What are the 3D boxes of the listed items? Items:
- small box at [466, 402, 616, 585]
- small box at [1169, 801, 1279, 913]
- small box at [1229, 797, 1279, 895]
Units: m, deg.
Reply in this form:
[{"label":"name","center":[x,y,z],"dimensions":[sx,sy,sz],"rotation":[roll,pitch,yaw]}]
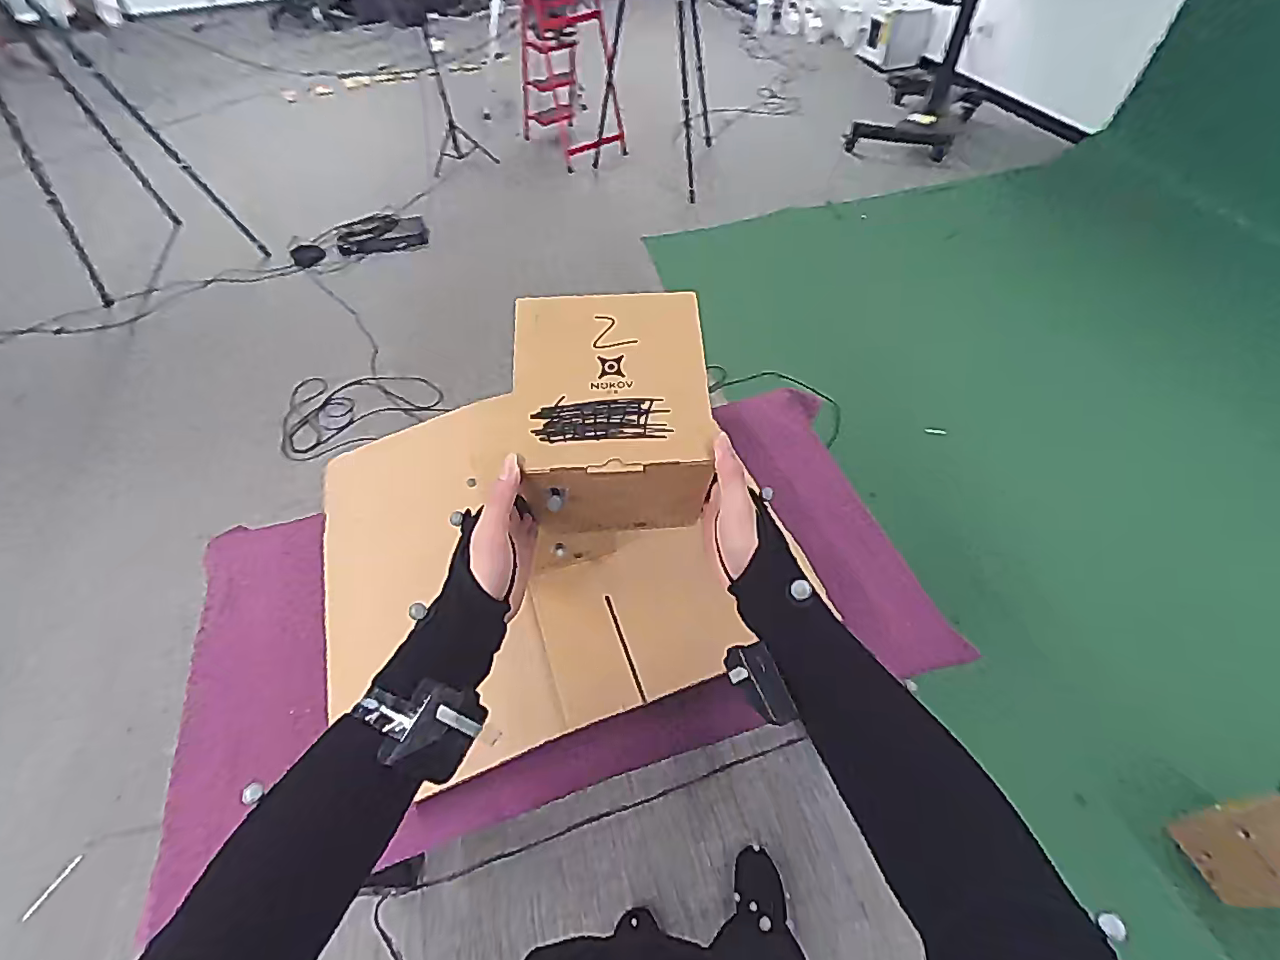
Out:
[{"label":"small box","center":[-0.137,0.020,0.772],"dimensions":[0.168,0.176,0.179],"rotation":[-16,54,-12]},{"label":"small box","center":[1.378,0.844,1.219],"dimensions":[0.179,0.176,0.168],"rotation":[-15,53,-8]},{"label":"small box","center":[1.372,0.744,1.090],"dimensions":[0.179,0.176,0.168],"rotation":[-14,53,-9]}]
